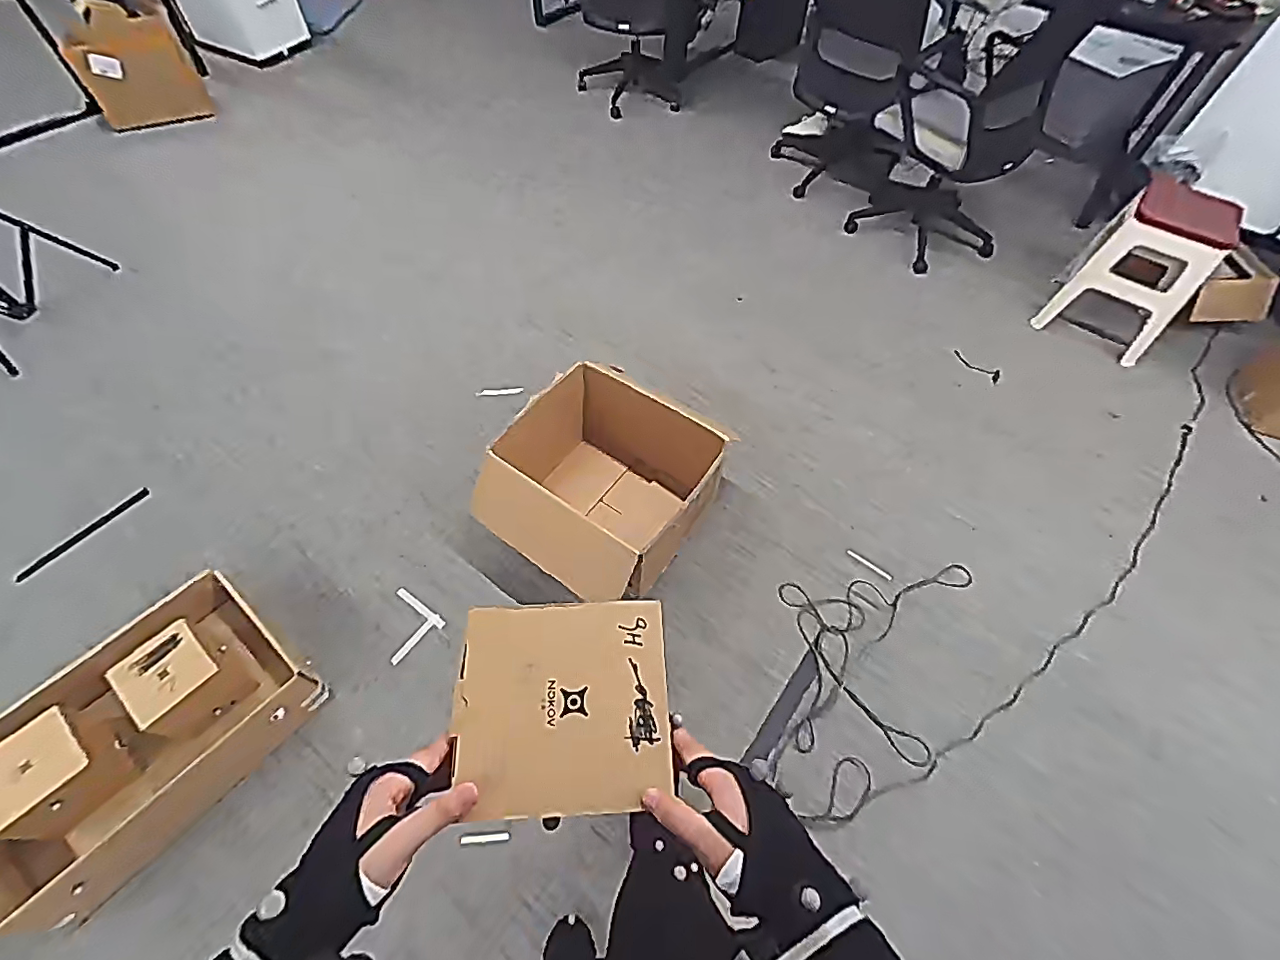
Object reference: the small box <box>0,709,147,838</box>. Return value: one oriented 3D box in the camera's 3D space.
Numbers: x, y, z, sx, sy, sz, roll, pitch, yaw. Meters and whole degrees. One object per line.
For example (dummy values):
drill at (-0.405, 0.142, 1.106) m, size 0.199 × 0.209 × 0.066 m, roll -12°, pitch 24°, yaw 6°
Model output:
small box at (-1.219, 0.622, 1.141) m, size 0.168 × 0.176 × 0.179 m, roll 39°, pitch 62°, yaw 18°

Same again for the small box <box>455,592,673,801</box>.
small box at (-0.064, 0.218, 0.532) m, size 0.179 × 0.176 × 0.168 m, roll -2°, pitch 61°, yaw -3°
